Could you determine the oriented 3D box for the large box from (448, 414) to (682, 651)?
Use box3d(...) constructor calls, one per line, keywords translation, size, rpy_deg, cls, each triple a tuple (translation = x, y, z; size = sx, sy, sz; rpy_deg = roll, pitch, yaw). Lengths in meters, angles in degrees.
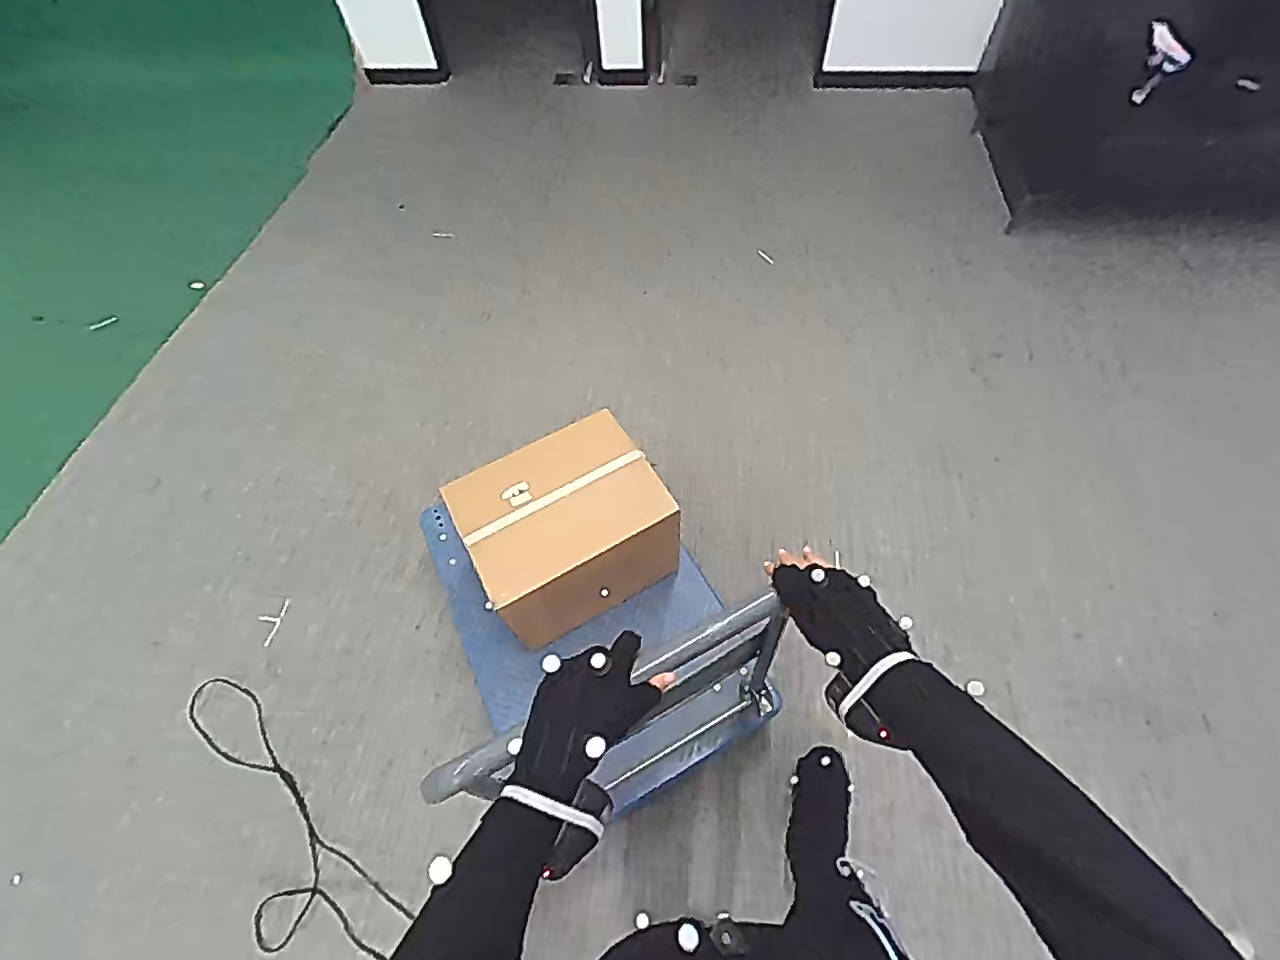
box3d(translation=(-0.152, 0.124, 1.239), size=(0.408, 0.320, 0.320), rpy_deg=(-28, 60, -14), cls="large box")
